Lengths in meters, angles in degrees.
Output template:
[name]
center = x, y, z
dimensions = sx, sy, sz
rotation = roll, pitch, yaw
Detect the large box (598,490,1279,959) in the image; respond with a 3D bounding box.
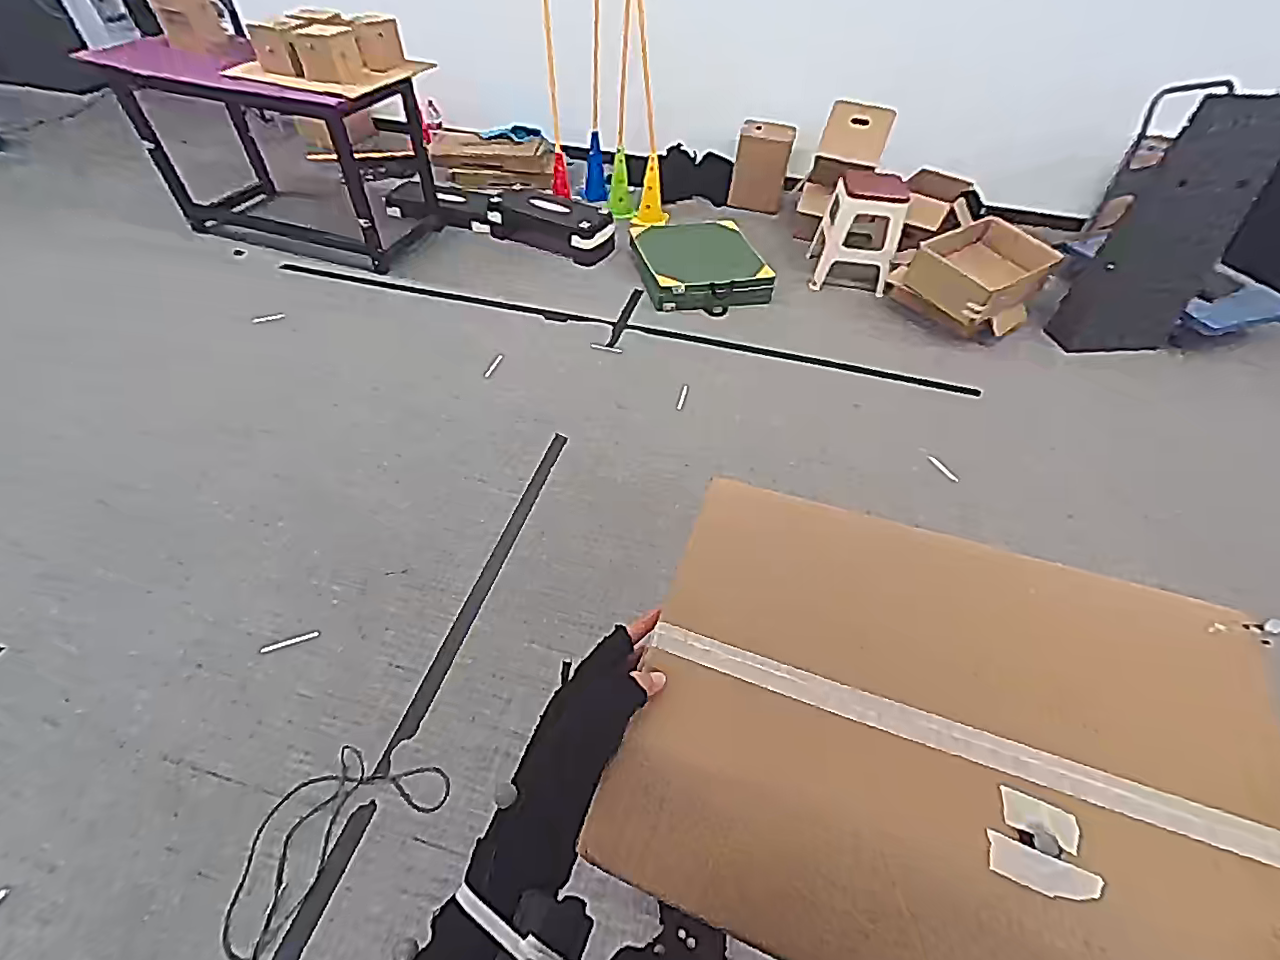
[large box]
center = 0.220, 0.256, 0.514
dimensions = 0.408, 0.320, 0.320
rotation = 15, 61, 17
